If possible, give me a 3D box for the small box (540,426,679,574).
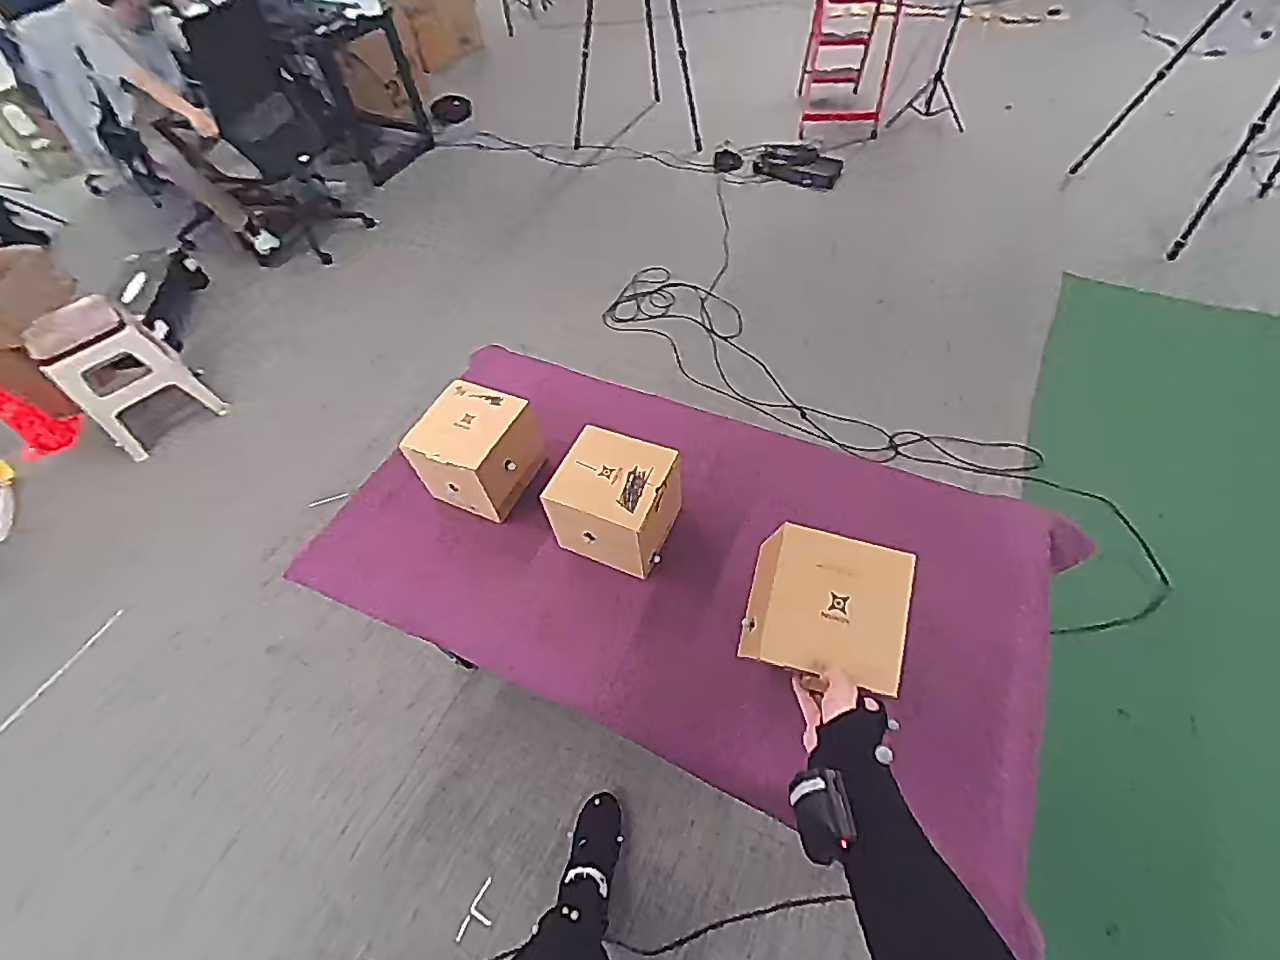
[{"bbox_3d":[-0.041,0.040,0.929,0.179,0.176,0.168,18,58,18],"label":"small box"}]

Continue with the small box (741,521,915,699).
[{"bbox_3d":[0.240,0.175,0.728,0.168,0.176,0.179,15,74,6],"label":"small box"}]

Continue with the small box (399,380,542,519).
[{"bbox_3d":[-0.304,-0.053,1.017,0.168,0.176,0.179,19,59,16],"label":"small box"}]
